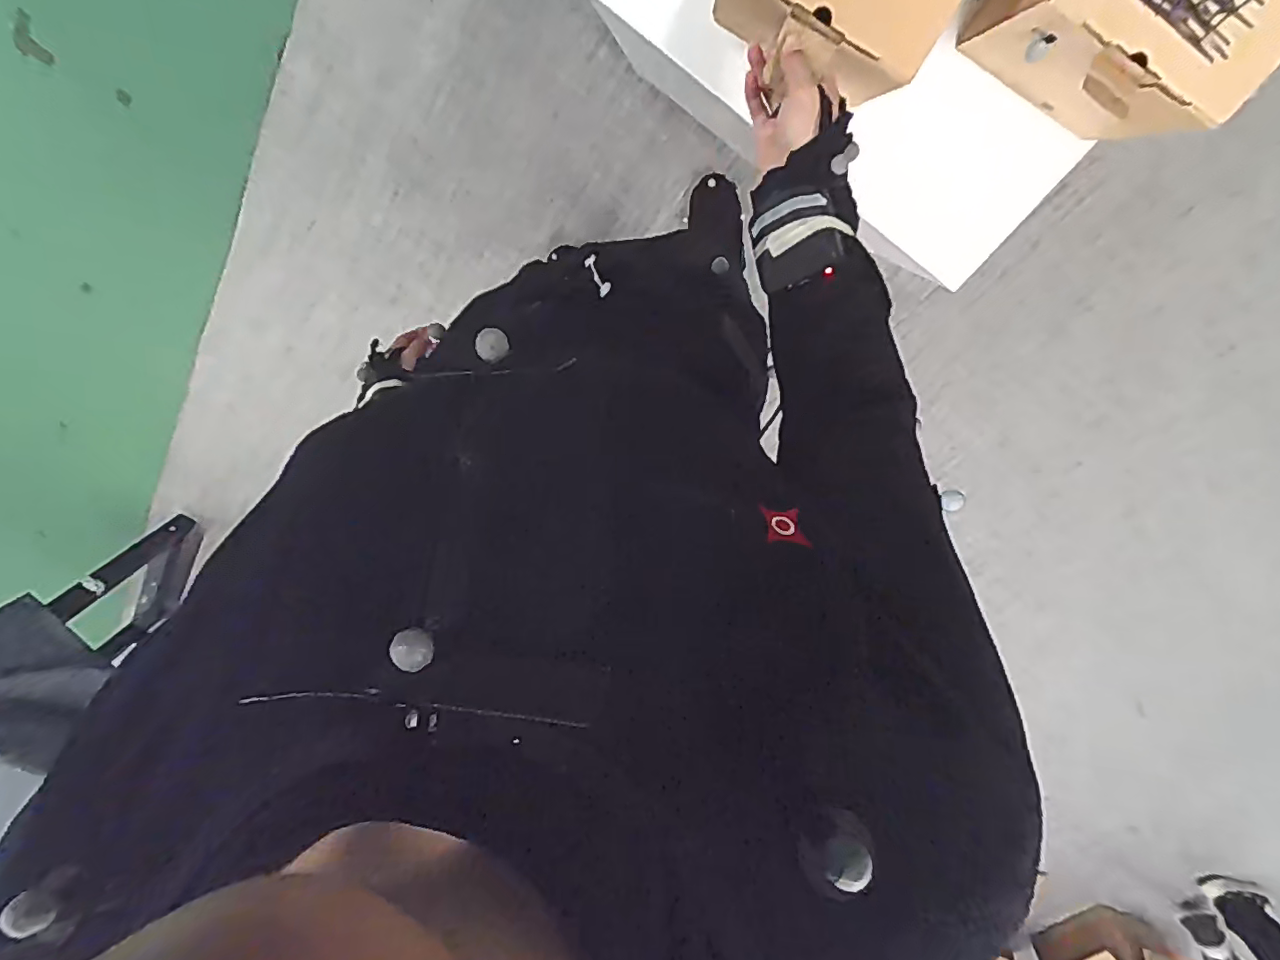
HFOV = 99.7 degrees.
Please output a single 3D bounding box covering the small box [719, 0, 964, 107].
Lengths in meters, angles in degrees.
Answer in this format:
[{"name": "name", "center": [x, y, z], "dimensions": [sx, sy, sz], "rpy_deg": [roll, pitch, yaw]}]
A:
[{"name": "small box", "center": [0.172, -0.431, 0.422], "dimensions": [0.168, 0.176, 0.179], "rpy_deg": [25, 119, -10]}]
